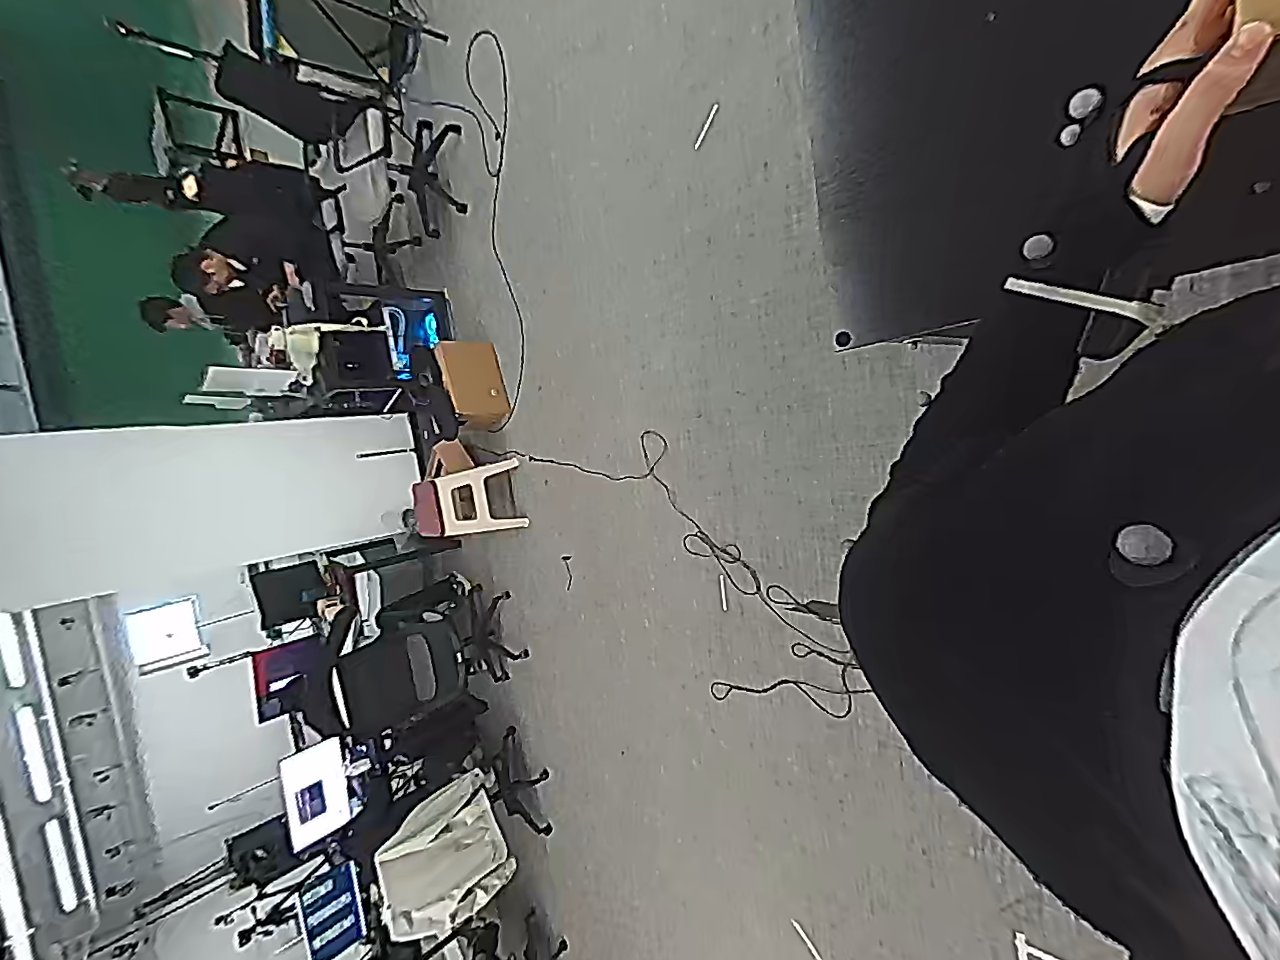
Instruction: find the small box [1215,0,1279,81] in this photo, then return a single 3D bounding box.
[{"bbox_3d":[0.411,-0.328,0.262,0.168,0.176,0.179,6,111,46],"label":"small box"}]
